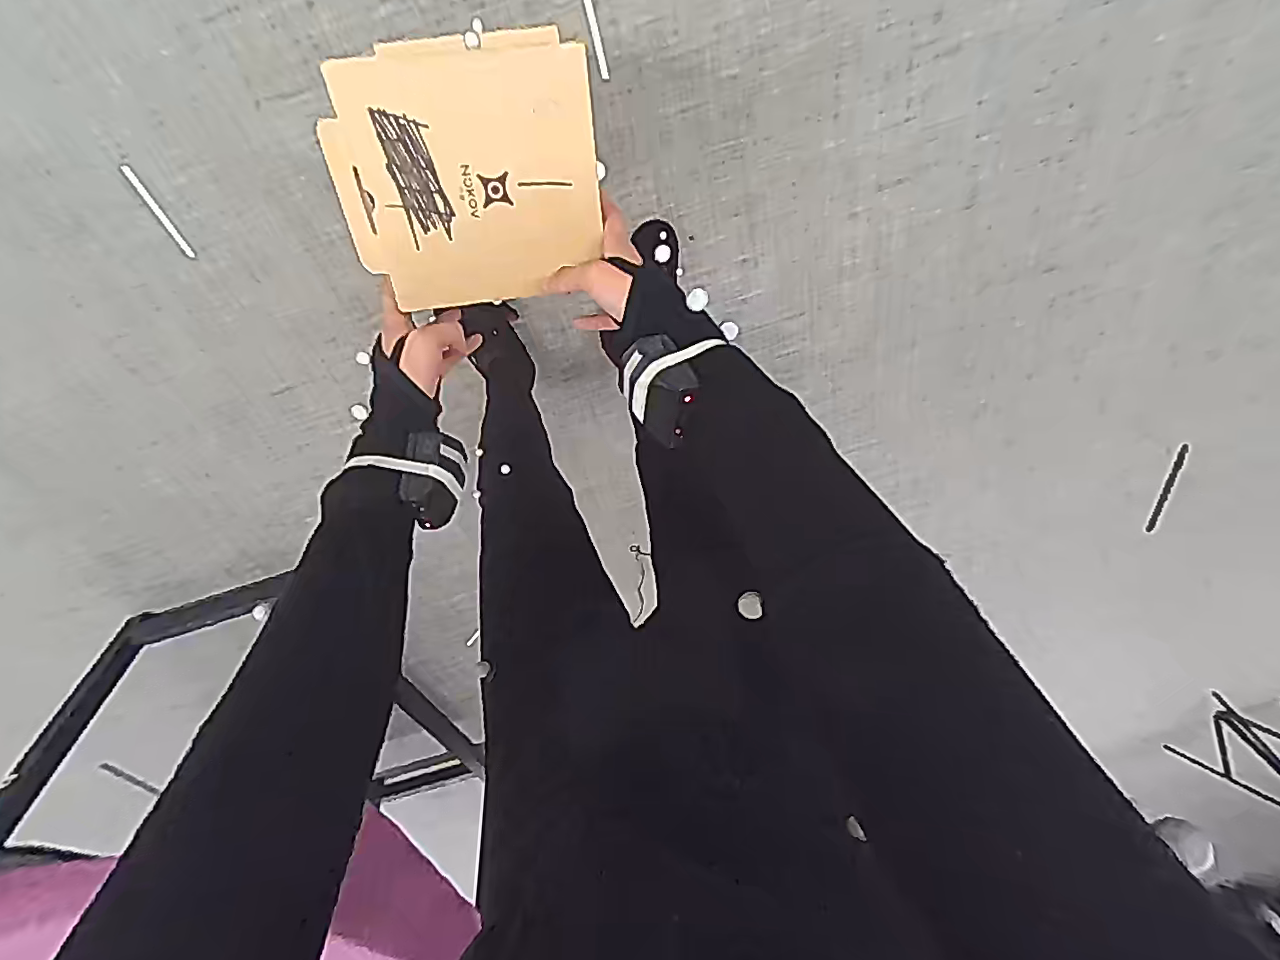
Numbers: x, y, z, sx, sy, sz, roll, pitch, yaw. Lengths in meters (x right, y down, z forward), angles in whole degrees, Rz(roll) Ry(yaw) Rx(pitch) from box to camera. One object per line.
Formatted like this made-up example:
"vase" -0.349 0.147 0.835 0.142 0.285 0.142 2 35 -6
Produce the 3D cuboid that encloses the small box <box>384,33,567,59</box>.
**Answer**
"small box" -0.155 -0.369 0.597 0.168 0.176 0.179 -8 127 -4

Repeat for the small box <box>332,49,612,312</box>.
"small box" -0.126 -0.259 0.471 0.179 0.176 0.168 -9 125 -6
